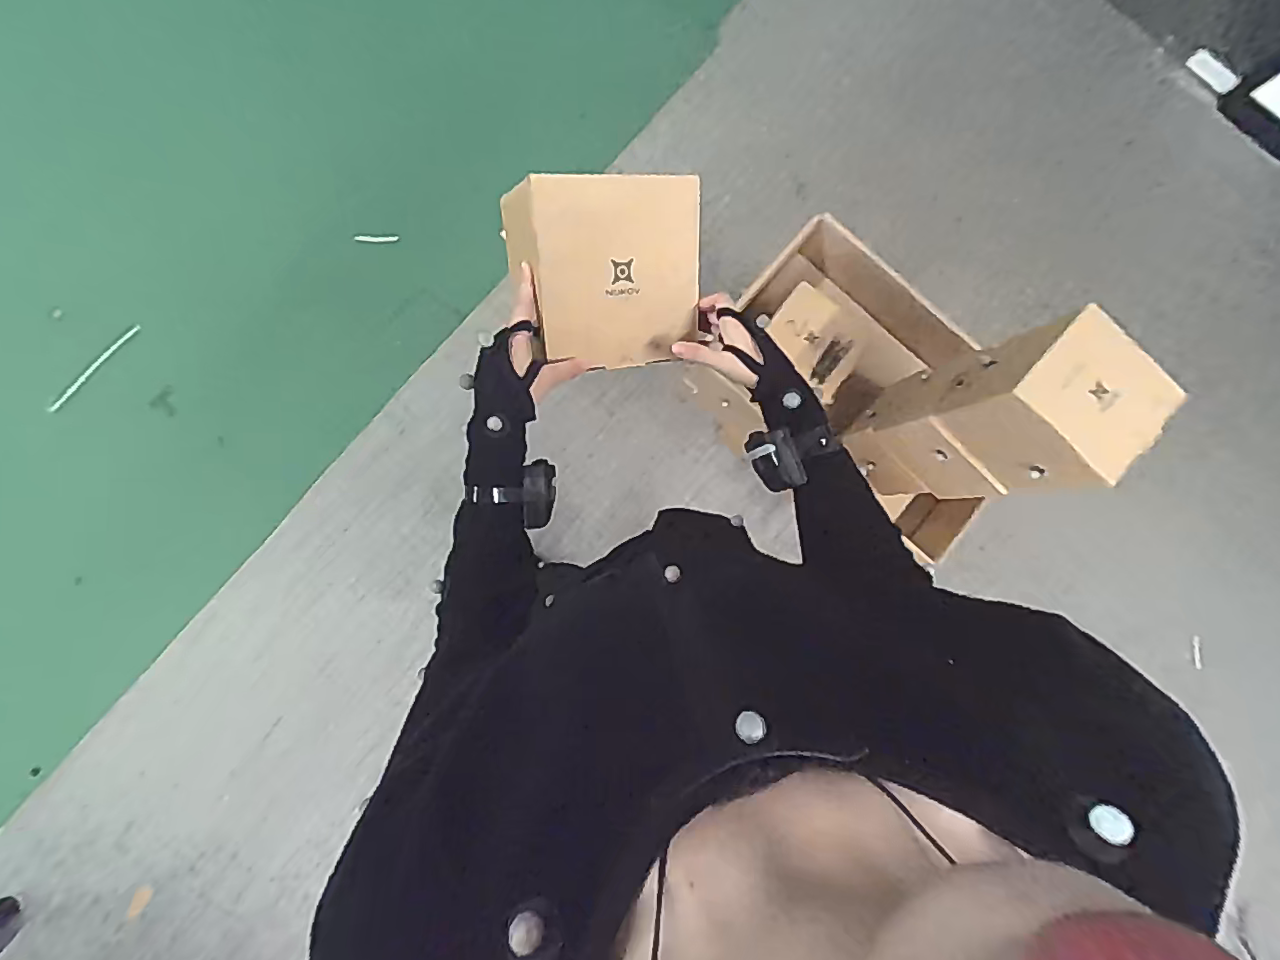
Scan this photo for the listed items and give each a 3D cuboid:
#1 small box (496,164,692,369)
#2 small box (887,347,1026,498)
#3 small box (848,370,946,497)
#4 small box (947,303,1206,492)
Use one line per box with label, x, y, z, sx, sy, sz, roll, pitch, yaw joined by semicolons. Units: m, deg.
small box;-0.054;-0.225;0.581;0.168;0.176;0.179;-10;114;-18
small box;0.555;-0.082;0.898;0.179;0.176;0.168;45;85;1
small box;0.538;-0.080;1.061;0.179;0.176;0.168;-43;89;-5
small box;0.574;-0.098;0.737;0.179;0.176;0.168;45;84;1
